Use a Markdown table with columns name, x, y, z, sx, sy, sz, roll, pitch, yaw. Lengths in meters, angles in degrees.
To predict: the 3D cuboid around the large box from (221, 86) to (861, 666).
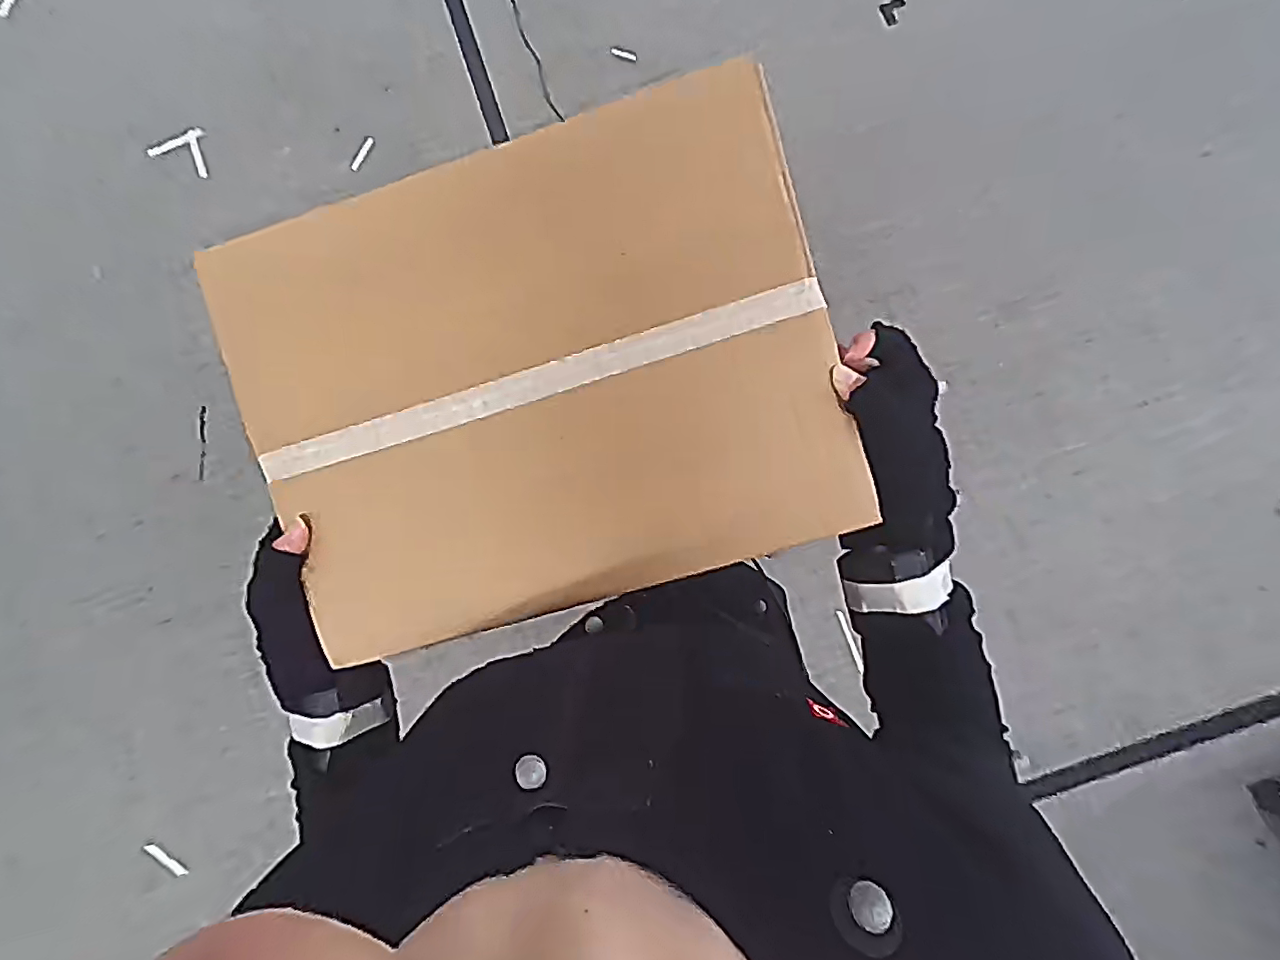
| name | x | y | z | sx | sy | sz | roll | pitch | yaw |
| --- | --- | --- | --- | --- | --- | --- | --- | --- | --- |
| large box | -0.064 | -0.073 | 0.532 | 0.408 | 0.320 | 0.320 | -16 | 92 | 6 |
